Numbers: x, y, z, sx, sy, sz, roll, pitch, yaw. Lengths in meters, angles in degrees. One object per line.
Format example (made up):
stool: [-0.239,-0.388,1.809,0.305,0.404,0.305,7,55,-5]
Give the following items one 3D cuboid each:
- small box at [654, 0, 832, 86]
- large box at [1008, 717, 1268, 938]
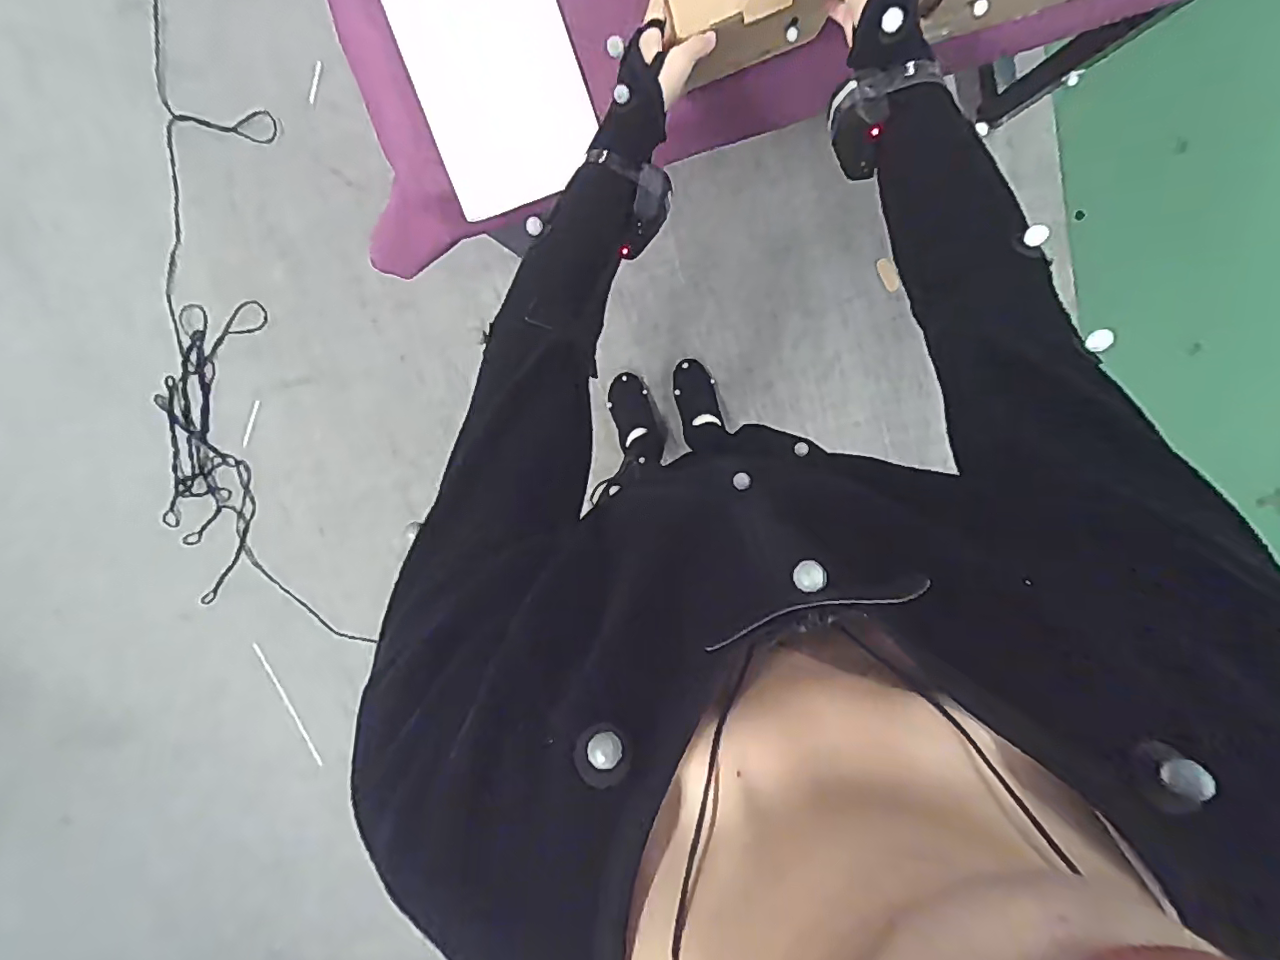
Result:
small box: [0.093,-0.525,0.533,0.168,0.176,0.179,-15,109,10]
large box: [1.384,0.969,1.543,0.408,0.320,0.320,-31,101,7]
